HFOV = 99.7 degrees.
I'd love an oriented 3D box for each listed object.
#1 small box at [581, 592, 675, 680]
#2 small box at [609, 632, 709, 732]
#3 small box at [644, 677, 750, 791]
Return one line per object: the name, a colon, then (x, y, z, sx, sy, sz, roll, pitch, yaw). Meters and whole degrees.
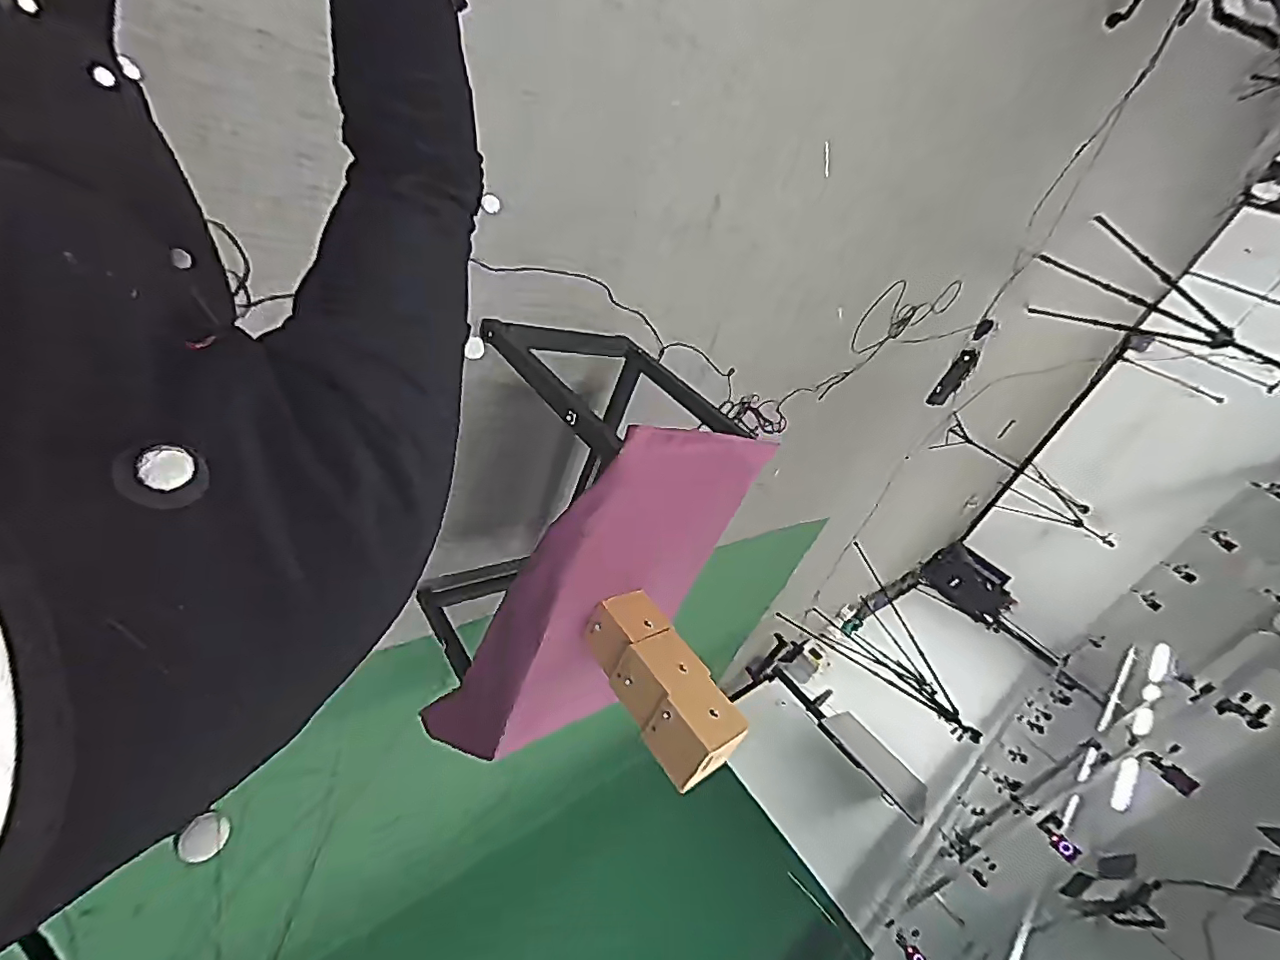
small box: (-0.038, 0.448, 1.580, 0.179, 0.176, 0.168, -2, 127, -46)
small box: (0.049, 0.541, 1.477, 0.179, 0.176, 0.168, -4, 128, -45)
small box: (0.139, 0.641, 1.381, 0.179, 0.176, 0.168, -4, 128, -46)
